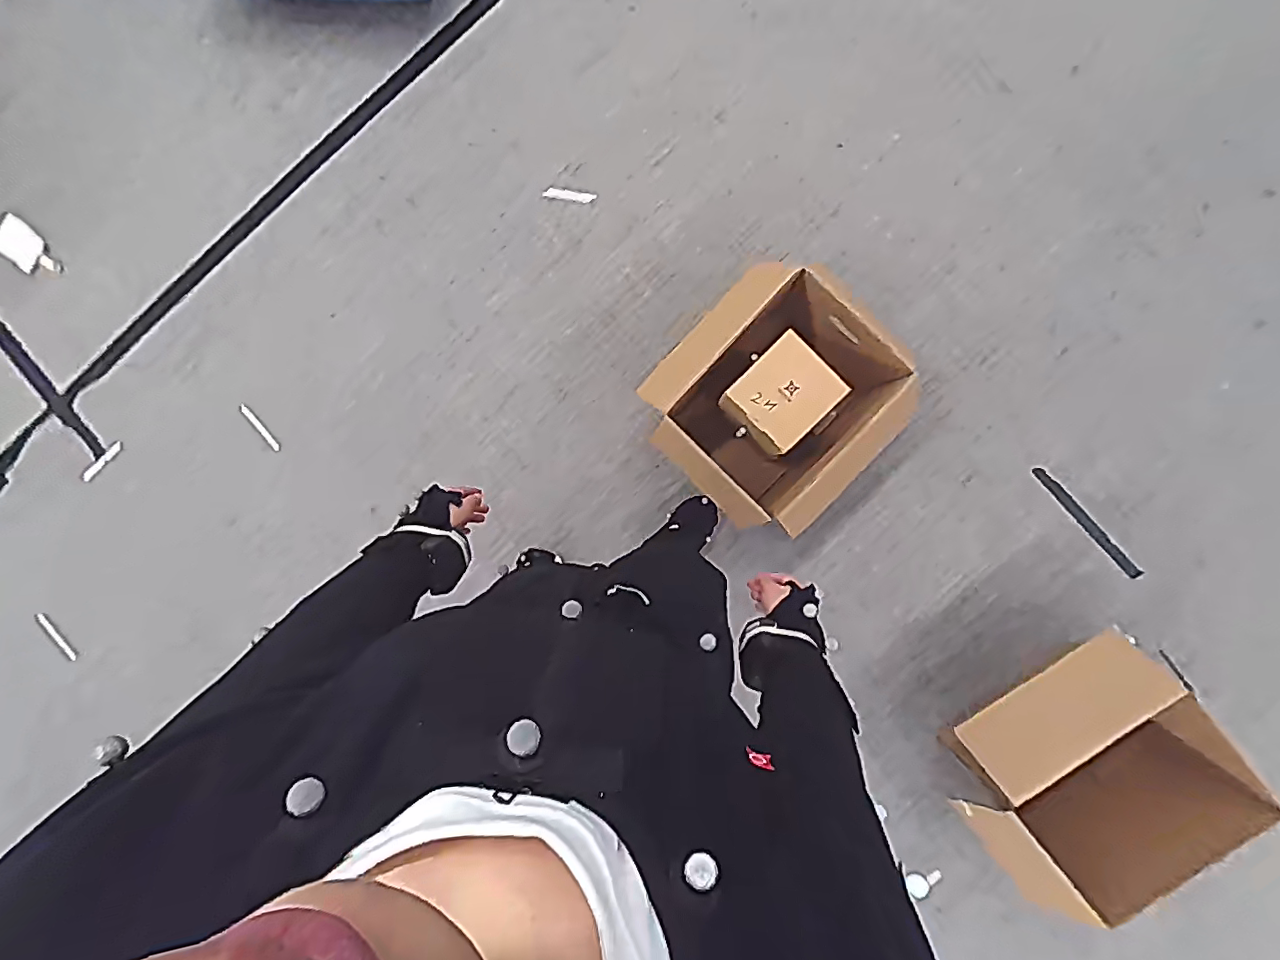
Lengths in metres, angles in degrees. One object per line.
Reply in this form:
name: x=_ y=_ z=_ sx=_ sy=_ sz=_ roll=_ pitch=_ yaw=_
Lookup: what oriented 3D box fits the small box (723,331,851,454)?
small box: x=0.287 y=-0.169 z=1.105 sx=0.179 sy=0.176 sz=0.168 roll=-44 pitch=88 yaw=3
